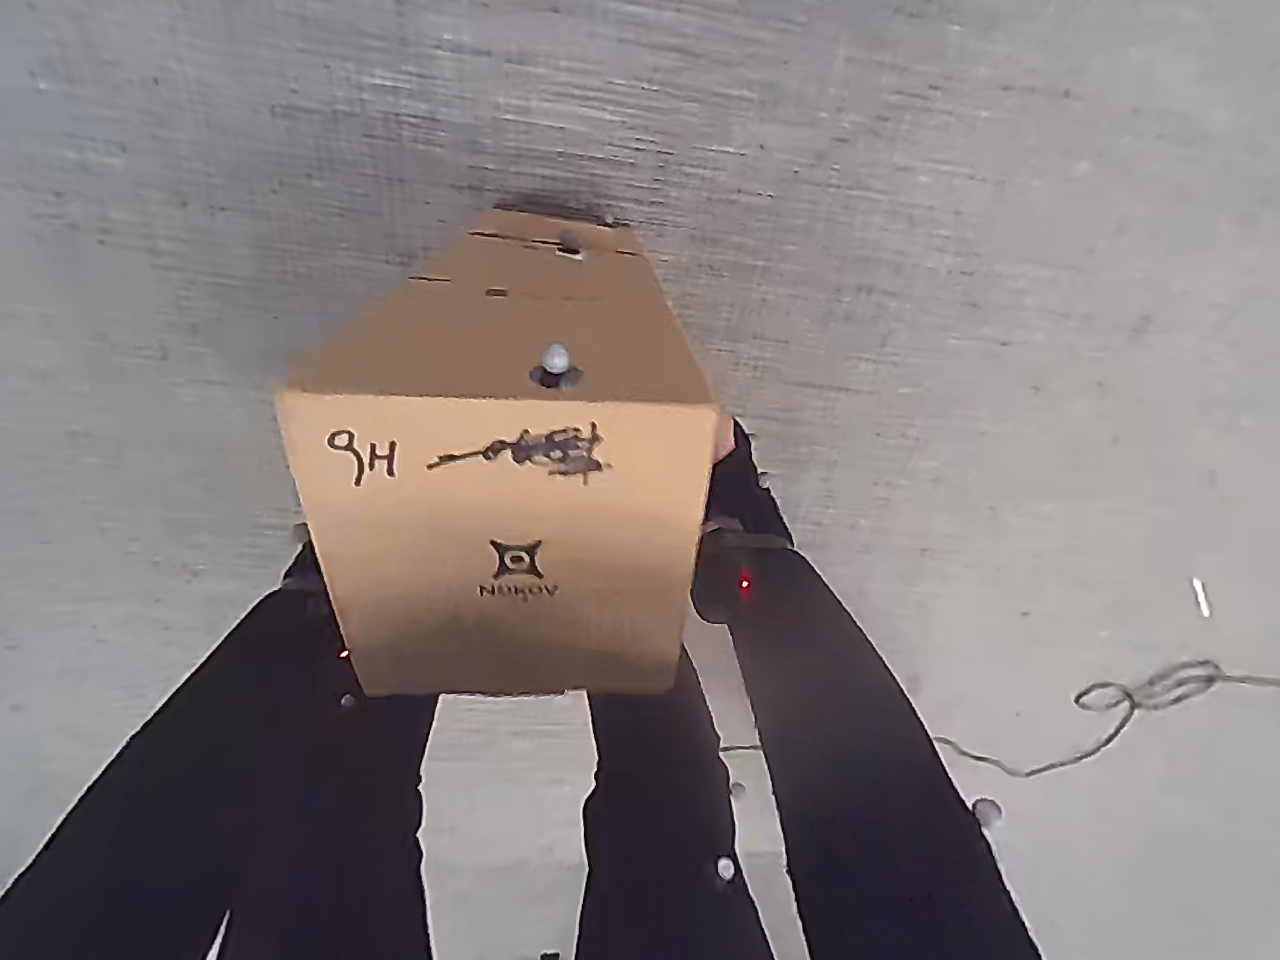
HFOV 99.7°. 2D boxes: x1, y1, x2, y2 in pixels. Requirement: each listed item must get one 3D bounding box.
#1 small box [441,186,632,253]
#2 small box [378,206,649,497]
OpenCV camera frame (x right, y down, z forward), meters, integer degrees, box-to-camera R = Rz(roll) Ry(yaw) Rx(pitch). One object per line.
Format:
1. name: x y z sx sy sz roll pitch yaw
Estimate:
1. small box: -0.108 -0.198 0.571 0.168 0.176 0.179 4 124 -9
2. small box: -0.092 -0.107 0.439 0.168 0.176 0.179 2 123 -9
